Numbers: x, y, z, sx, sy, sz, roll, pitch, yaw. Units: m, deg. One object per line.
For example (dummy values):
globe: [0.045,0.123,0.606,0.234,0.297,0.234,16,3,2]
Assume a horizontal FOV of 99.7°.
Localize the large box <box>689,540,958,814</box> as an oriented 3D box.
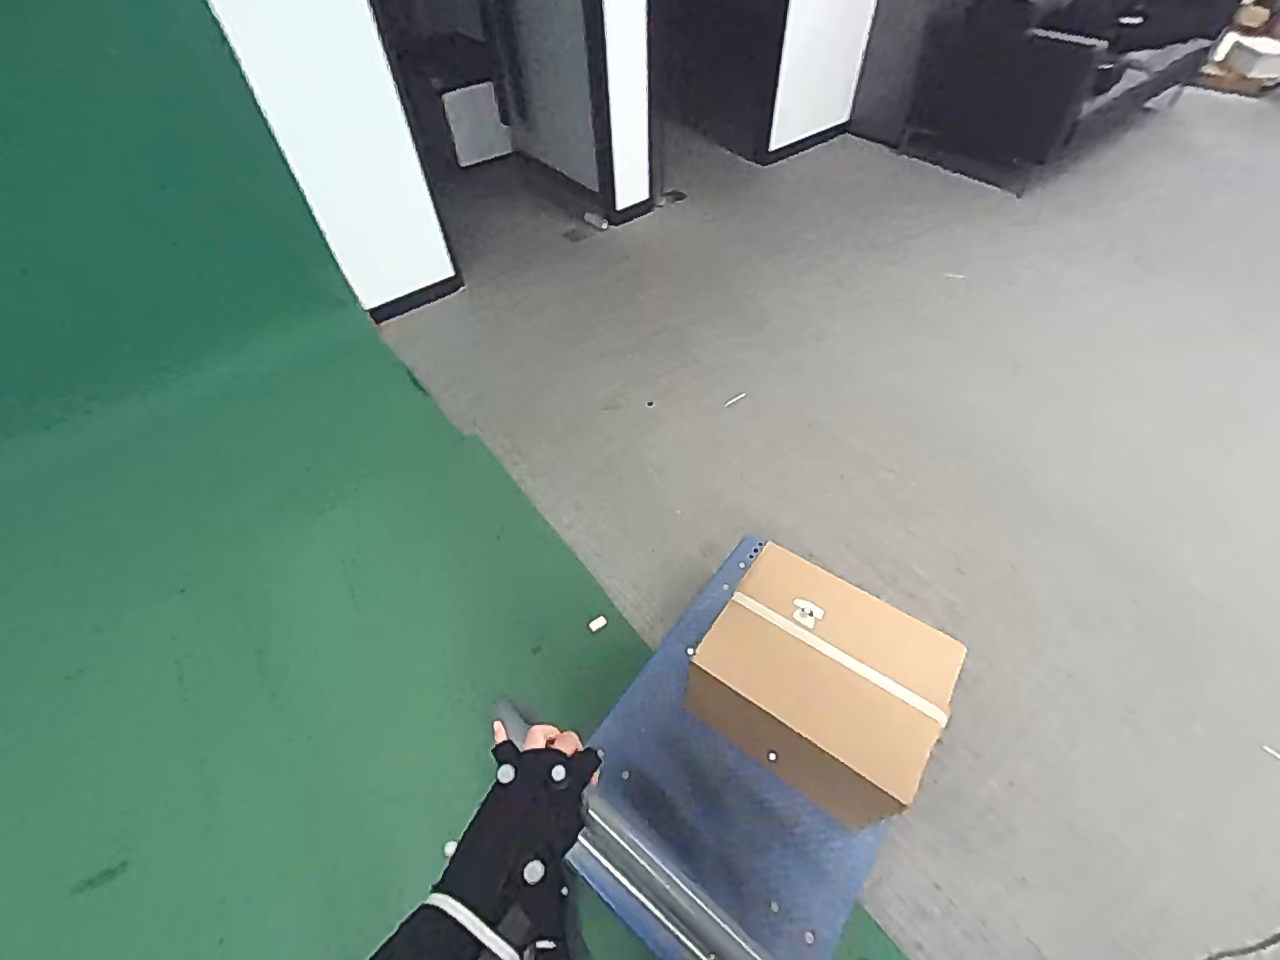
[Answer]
large box: [0.348,0.400,1.109,0.408,0.320,0.320,28,57,23]
